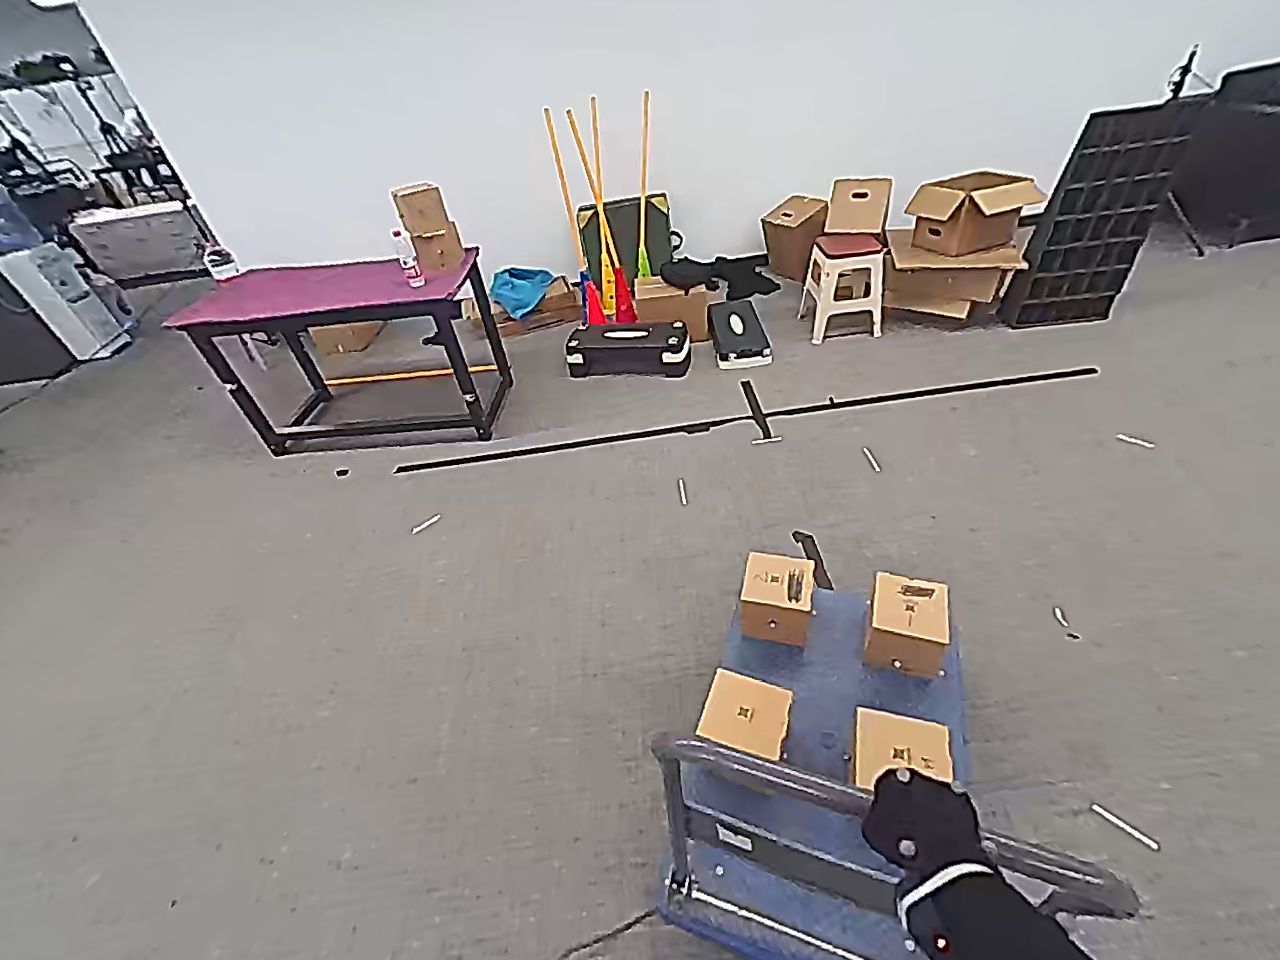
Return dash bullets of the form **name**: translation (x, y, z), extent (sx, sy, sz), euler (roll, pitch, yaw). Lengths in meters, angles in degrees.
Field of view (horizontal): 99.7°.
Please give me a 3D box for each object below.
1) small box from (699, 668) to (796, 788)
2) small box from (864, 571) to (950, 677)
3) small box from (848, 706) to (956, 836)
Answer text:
- **small box**: translation (0.241, 0.560, 1.219), extent (0.179, 0.176, 0.168), euler (12, 44, 20)
- **small box**: translation (0.671, 0.364, 1.367), extent (0.168, 0.176, 0.179), euler (9, 45, 20)
- **small box**: translation (0.531, 0.602, 1.118), extent (0.179, 0.176, 0.168), euler (7, 43, 18)
